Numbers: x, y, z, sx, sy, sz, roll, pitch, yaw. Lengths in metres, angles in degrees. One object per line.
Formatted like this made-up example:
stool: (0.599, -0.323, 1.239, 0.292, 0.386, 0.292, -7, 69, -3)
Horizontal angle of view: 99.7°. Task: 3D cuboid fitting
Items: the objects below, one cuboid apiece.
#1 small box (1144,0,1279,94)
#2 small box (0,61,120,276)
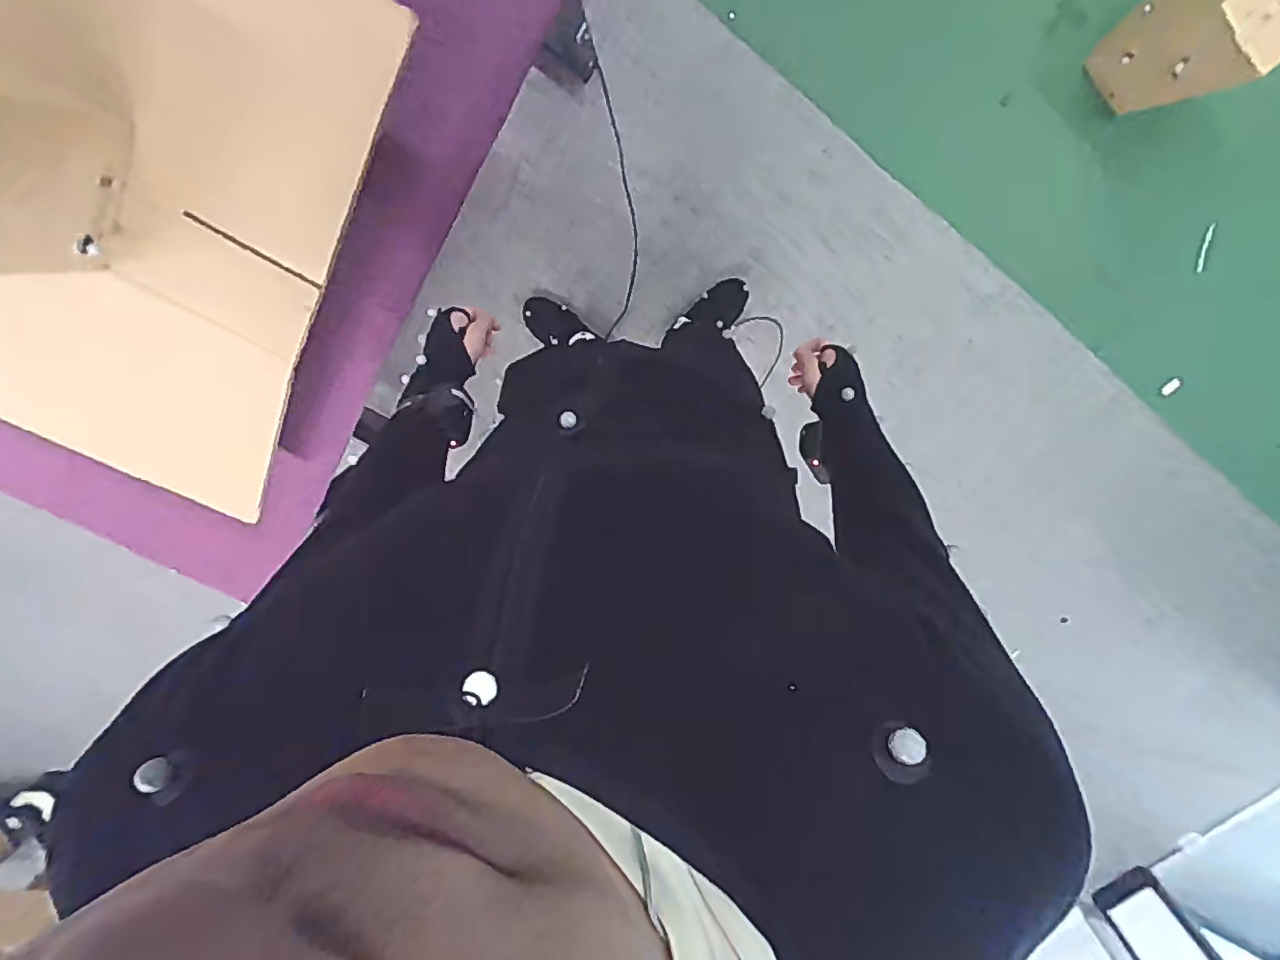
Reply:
small box: (1.144, -0.892, 1.033, 0.168, 0.176, 0.179, 38, 109, -15)
small box: (-0.641, -0.303, 0.491, 0.179, 0.176, 0.168, 28, 109, -11)
